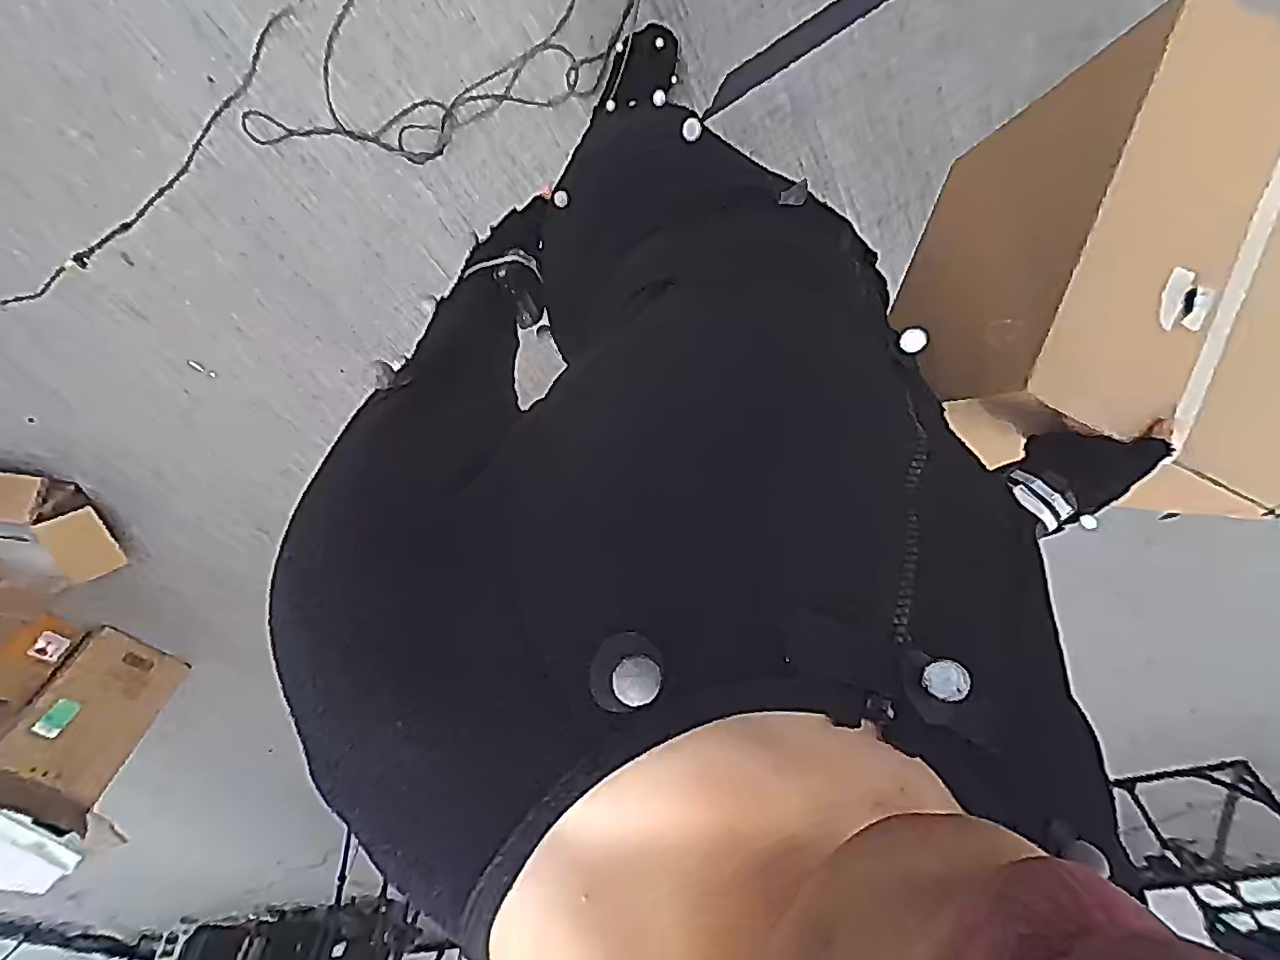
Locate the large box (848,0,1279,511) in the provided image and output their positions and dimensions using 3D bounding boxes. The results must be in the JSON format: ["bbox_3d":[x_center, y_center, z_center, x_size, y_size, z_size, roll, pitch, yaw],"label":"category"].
[{"bbox_3d":[0.527,-0.219,0.659,0.320,0.320,0.408,22,91,-8],"label":"large box"}]
